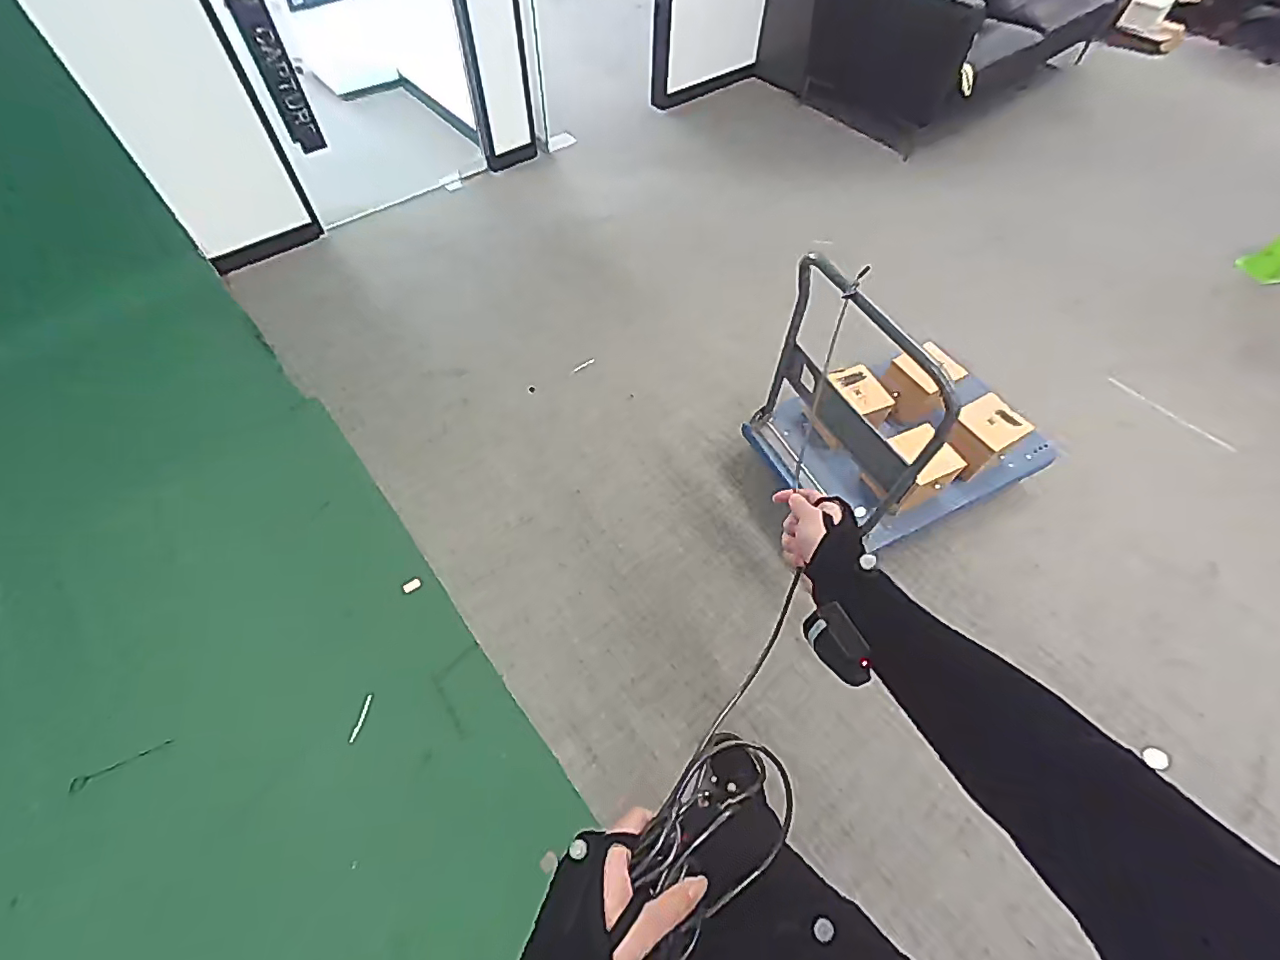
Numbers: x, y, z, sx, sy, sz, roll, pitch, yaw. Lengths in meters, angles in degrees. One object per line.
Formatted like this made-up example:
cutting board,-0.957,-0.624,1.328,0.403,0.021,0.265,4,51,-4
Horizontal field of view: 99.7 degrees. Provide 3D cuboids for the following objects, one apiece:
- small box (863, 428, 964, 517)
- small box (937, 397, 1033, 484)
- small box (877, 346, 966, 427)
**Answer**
small box,0.797,-0.020,1.596,0.179,0.176,0.168,-21,60,-14
small box,1.040,-0.118,1.663,0.179,0.176,0.168,-26,61,-16
small box,0.913,-0.302,1.779,0.179,0.176,0.168,-25,62,-17
